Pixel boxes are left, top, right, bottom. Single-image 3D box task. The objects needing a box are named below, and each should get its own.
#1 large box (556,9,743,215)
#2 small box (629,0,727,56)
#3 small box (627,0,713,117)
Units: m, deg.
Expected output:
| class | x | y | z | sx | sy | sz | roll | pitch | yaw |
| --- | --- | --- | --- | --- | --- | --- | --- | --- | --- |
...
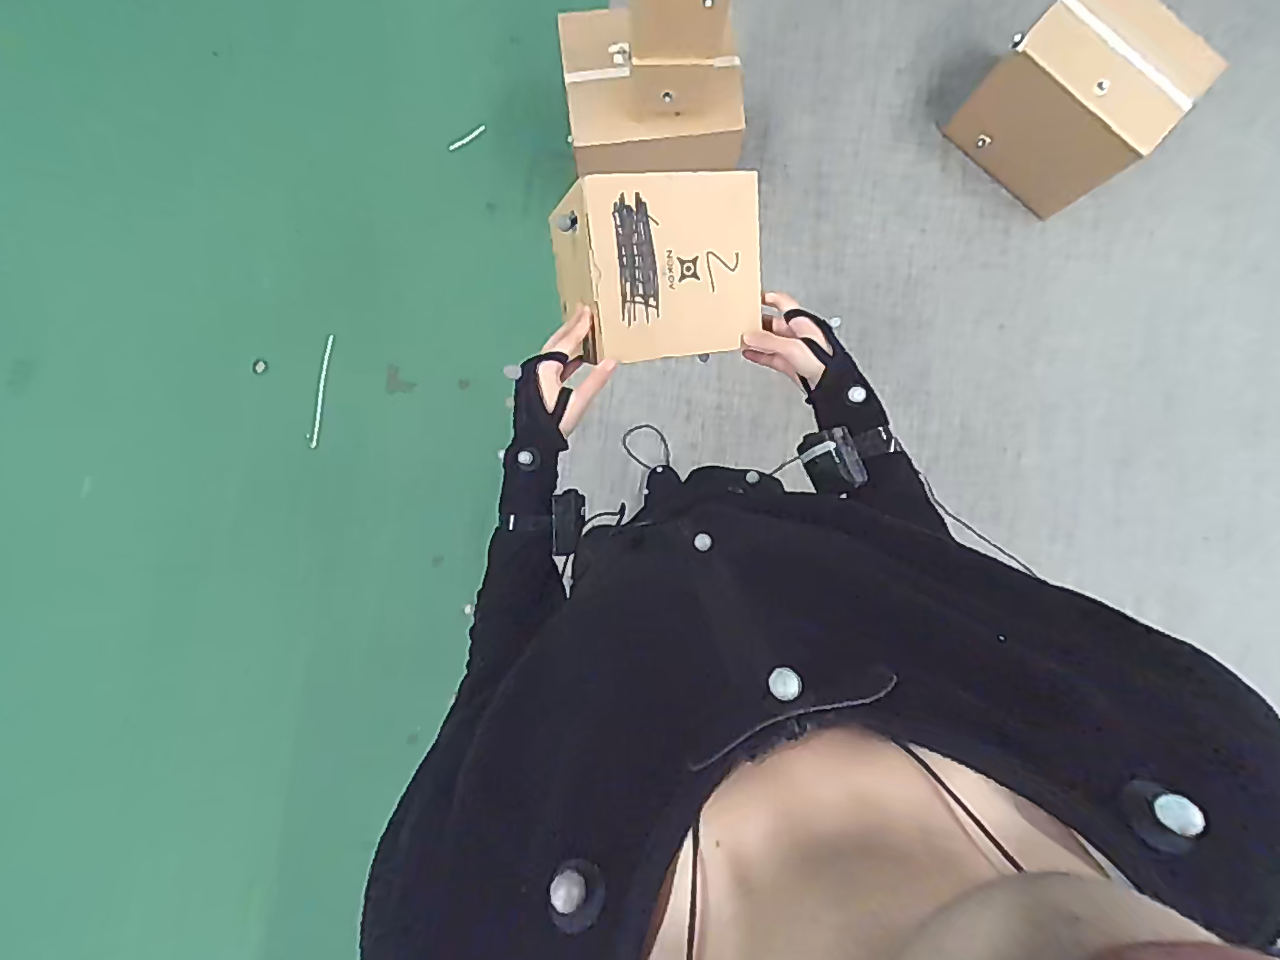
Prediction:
| class | x | y | z | sx | sy | sz | roll | pitch | yaw |
| --- | --- | --- | --- | --- | --- | --- | --- | --- | --- |
| large box | 0.021 | -0.922 | 1.382 | 0.408 | 0.320 | 0.320 | -7 | 88 | -1 |
| small box | 0.068 | -0.909 | 0.975 | 0.179 | 0.176 | 0.168 | 0 | 89 | -3 |
| small box | 0.058 | -0.899 | 1.136 | 0.168 | 0.176 | 0.179 | -1 | 89 | -3 |
